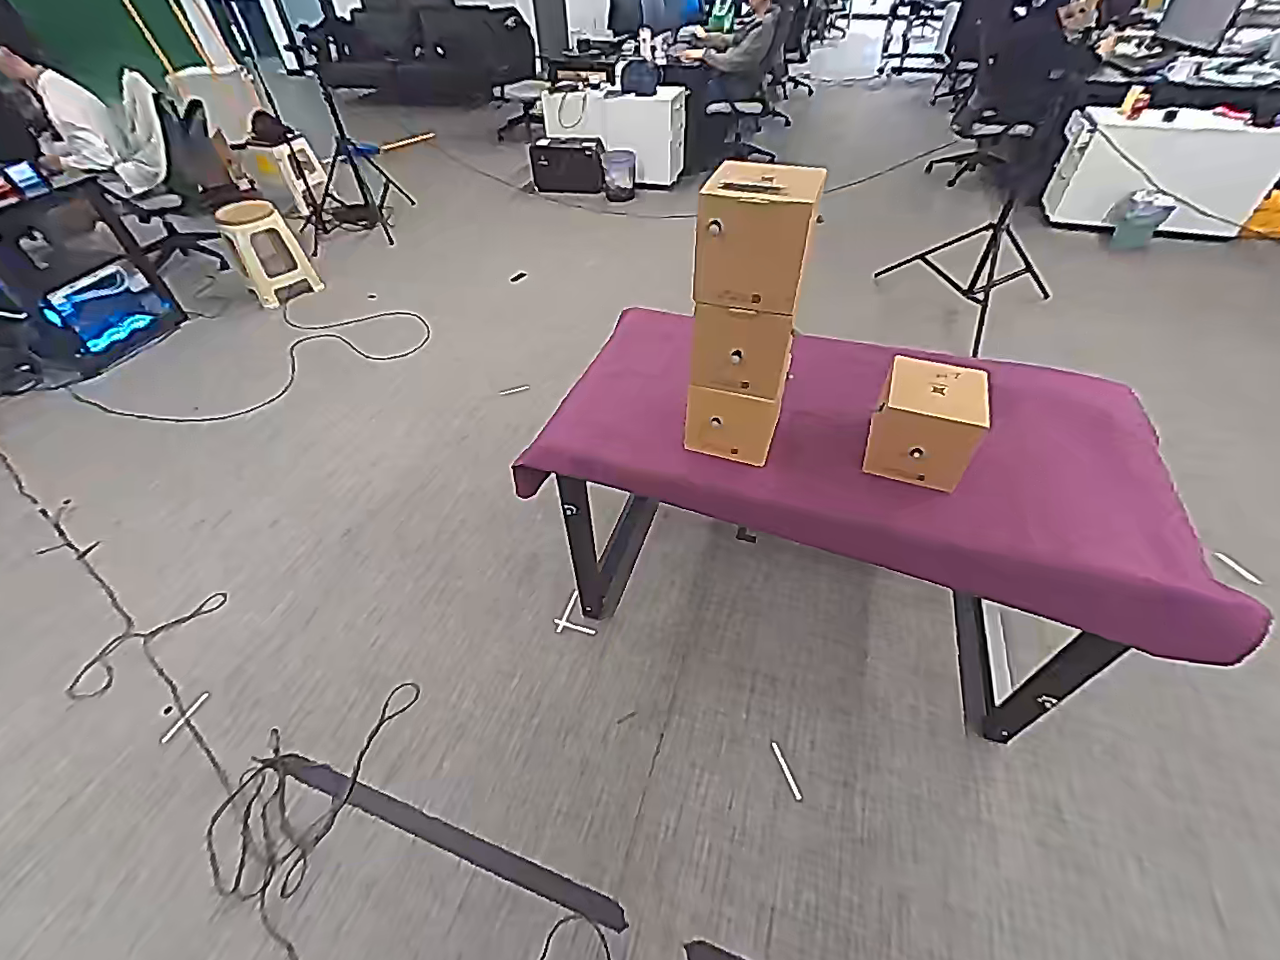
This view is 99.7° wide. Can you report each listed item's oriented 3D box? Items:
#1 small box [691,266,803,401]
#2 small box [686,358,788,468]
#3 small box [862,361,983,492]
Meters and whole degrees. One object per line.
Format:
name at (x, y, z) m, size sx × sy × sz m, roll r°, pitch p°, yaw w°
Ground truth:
small box at (0.194, -0.269, 0.997) m, size 0.168 × 0.176 × 0.179 m, roll 13°, pitch 47°, yaw 13°
small box at (0.196, -0.150, 1.110) m, size 0.168 × 0.176 × 0.179 m, roll 14°, pitch 47°, yaw 15°
small box at (0.544, -0.103, 1.052) m, size 0.168 × 0.176 × 0.179 m, roll 16°, pitch 48°, yaw 16°
